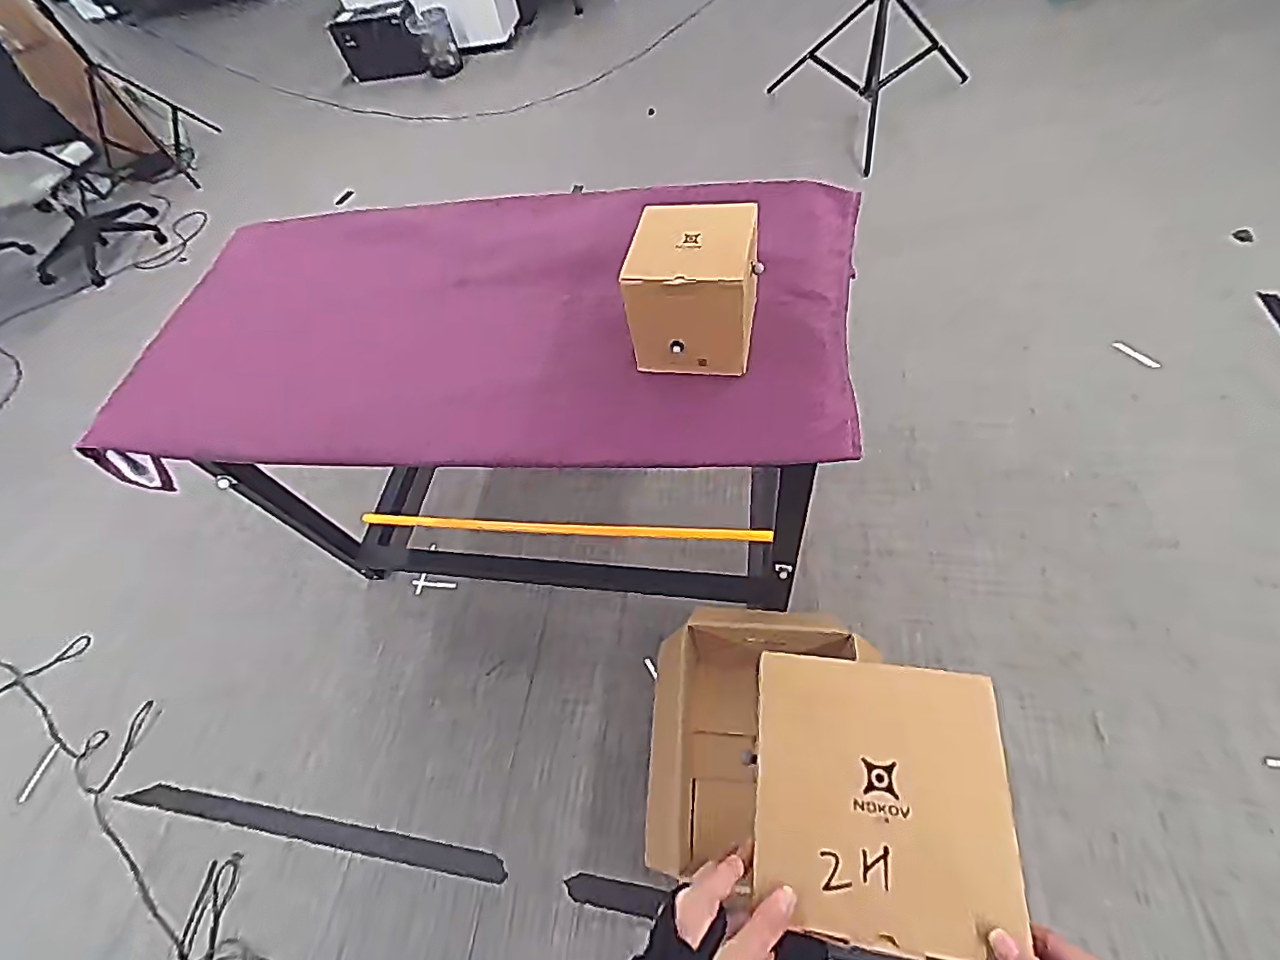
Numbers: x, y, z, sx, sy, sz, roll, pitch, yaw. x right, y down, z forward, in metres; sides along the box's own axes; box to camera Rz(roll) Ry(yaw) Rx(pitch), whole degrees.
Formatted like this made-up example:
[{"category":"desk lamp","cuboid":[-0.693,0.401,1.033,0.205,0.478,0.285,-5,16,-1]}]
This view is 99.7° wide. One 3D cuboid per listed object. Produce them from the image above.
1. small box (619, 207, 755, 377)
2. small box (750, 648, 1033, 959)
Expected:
[{"category":"small box","cuboid":[0.078,-0.278,0.804,0.168,0.176,0.179,5,58,14]},{"category":"small box","cuboid":[0.177,0.251,0.440,0.168,0.176,0.179,1,62,14]}]
